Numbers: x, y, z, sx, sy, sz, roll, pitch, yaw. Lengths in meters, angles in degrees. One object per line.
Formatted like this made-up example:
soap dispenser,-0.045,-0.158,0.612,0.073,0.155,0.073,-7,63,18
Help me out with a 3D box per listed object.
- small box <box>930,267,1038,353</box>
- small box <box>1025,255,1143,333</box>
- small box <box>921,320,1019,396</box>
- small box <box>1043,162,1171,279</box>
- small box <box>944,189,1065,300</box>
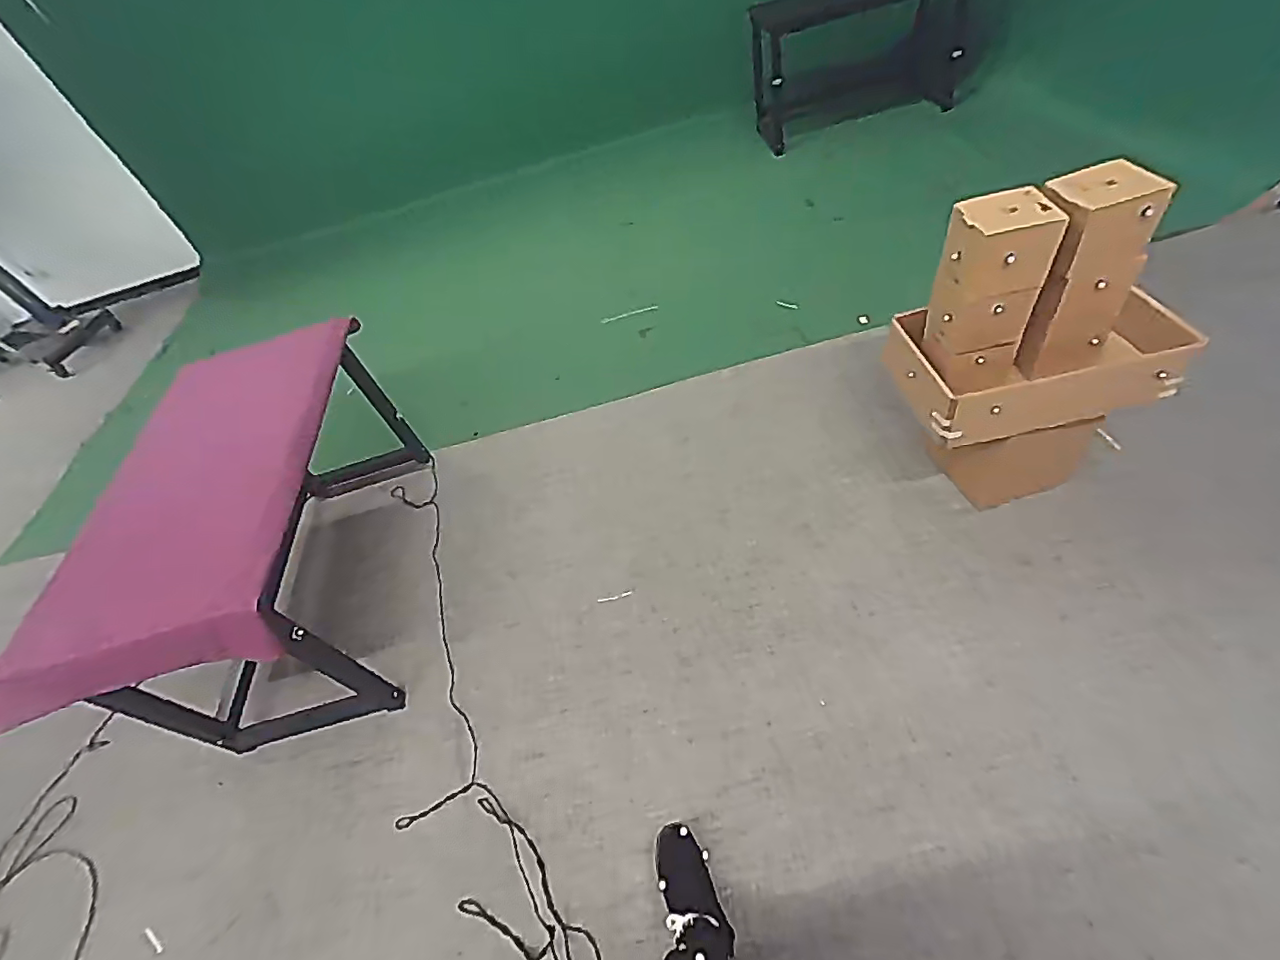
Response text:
small box,0.879,-0.452,1.407,0.179,0.176,0.168,-10,50,7
small box,1.113,-0.508,1.392,0.179,0.176,0.168,-14,50,8
small box,0.920,-0.359,1.534,0.179,0.176,0.168,-12,49,5
small box,1.060,-0.605,1.269,0.179,0.176,0.168,-16,49,6
small box,0.845,-0.552,1.281,0.179,0.176,0.168,-10,51,8
